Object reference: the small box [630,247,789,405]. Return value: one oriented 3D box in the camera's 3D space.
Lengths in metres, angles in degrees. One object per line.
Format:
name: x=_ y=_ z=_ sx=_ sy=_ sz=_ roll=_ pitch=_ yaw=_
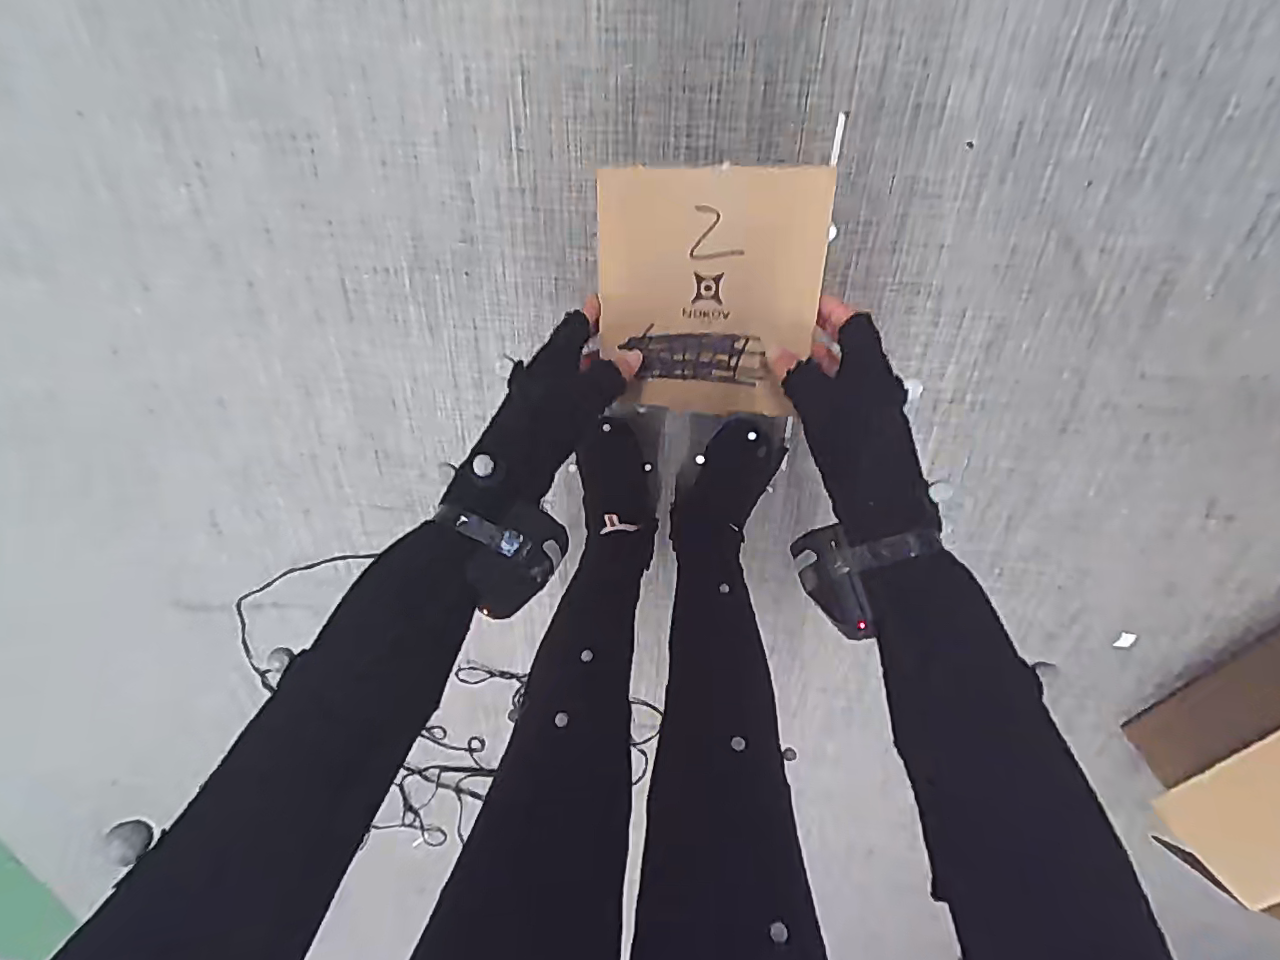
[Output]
small box: x=0.086 y=-0.204 z=0.696 sx=0.179 sy=0.176 sz=0.168 roll=2 pitch=118 yaw=8
